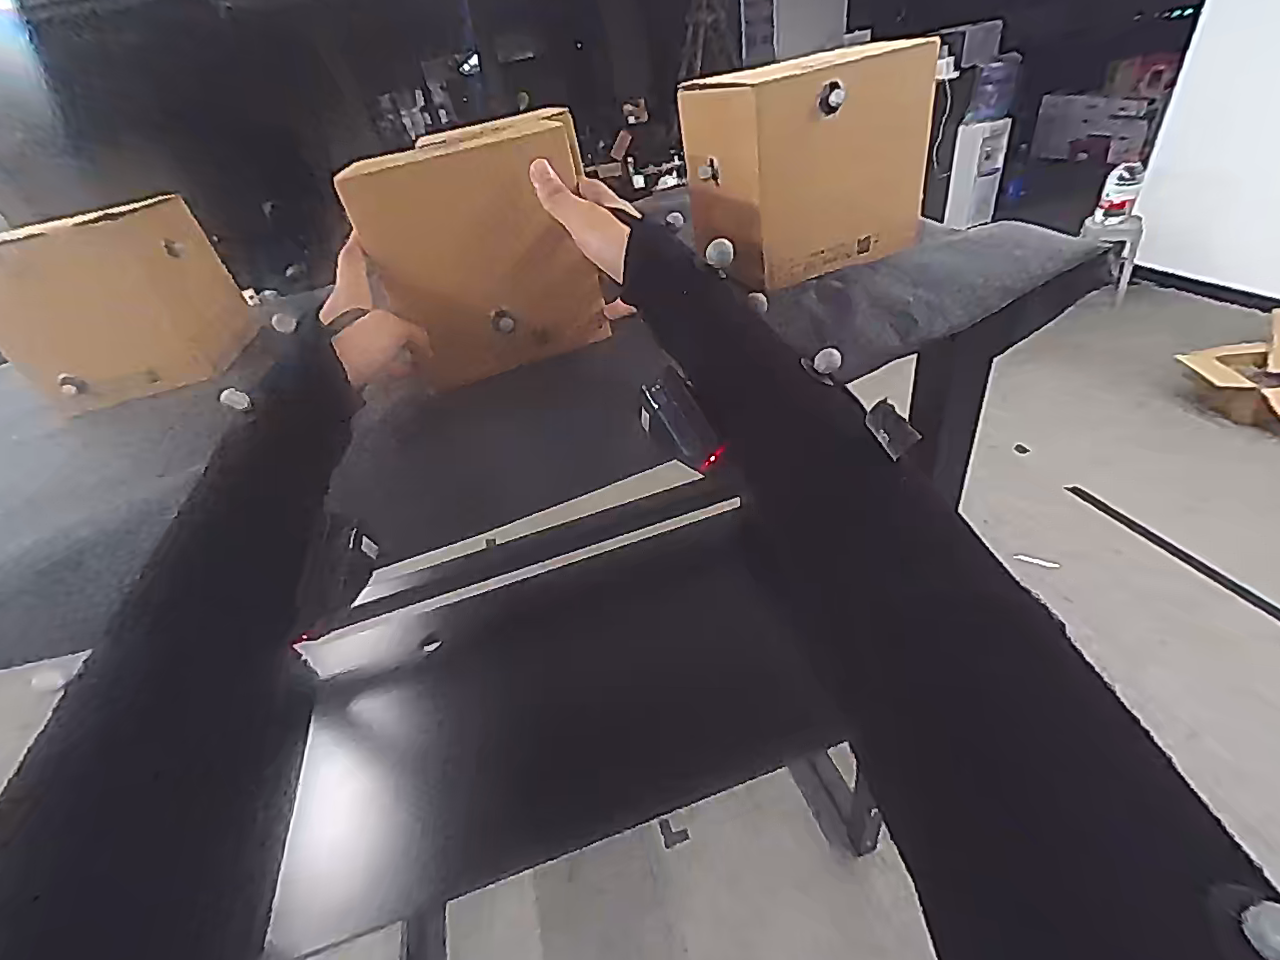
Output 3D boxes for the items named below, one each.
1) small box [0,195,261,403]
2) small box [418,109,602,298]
[{"bbox_3d":[-0.576,-0.203,0.614,0.168,0.176,0.179,-17,37,-7],"label":"small box"},{"bbox_3d":[-0.155,-0.343,0.672,0.168,0.176,0.179,-18,37,-6],"label":"small box"}]
